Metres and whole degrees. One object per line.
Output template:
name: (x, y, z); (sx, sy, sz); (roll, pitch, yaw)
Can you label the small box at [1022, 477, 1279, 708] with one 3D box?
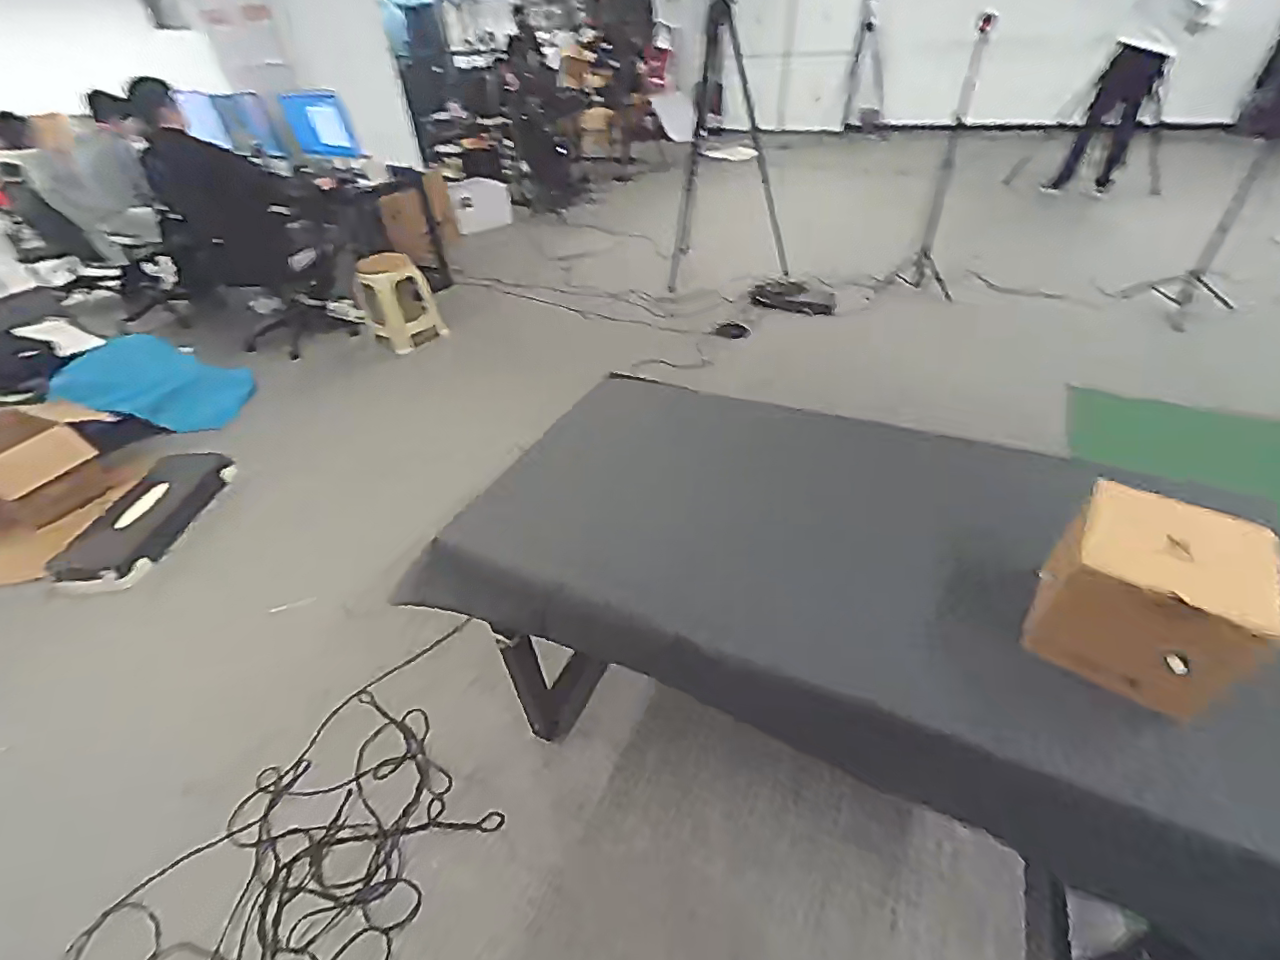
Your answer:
small box: (0.591, 0.132, 0.647); (0.168, 0.176, 0.179); (25, 47, 29)
